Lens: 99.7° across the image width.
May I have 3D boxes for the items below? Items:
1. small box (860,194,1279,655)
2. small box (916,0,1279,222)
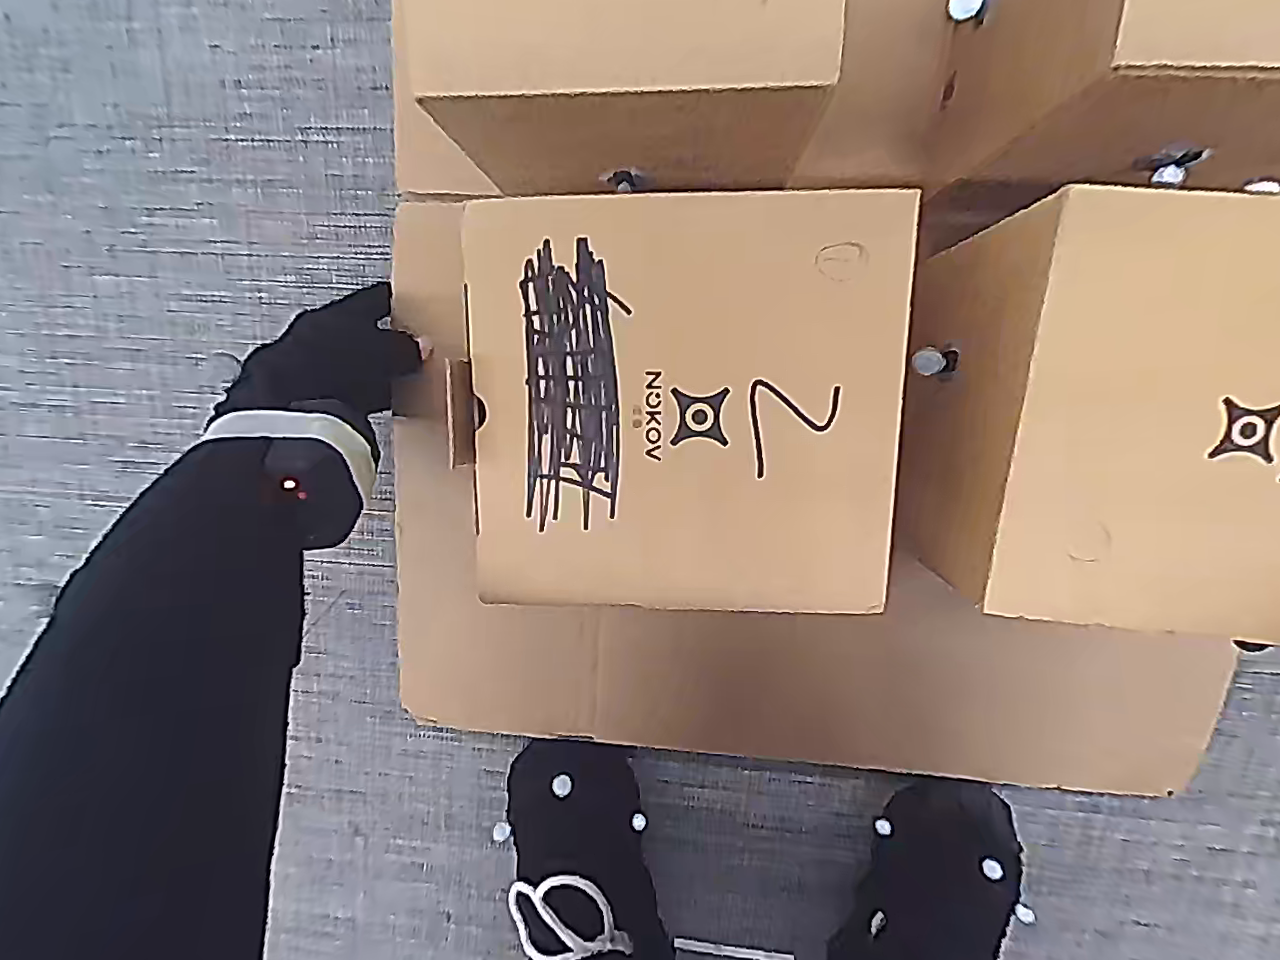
[{"bbox_3d":[0.234,-0.028,0.281,0.179,0.176,0.168,6,101,3],"label":"small box"},{"bbox_3d":[0.261,-0.225,0.249,0.179,0.176,0.168,6,101,5],"label":"small box"}]
